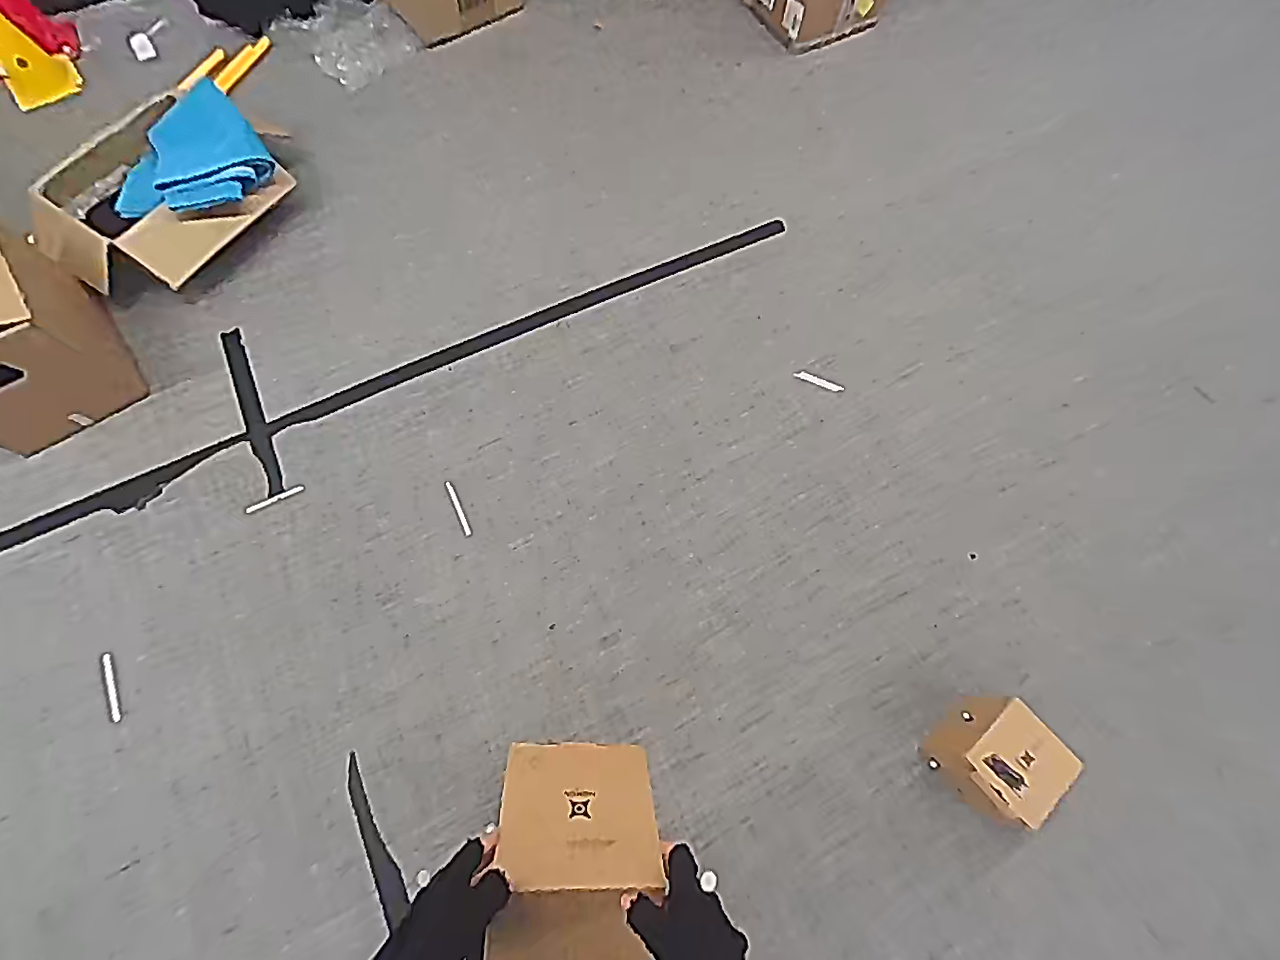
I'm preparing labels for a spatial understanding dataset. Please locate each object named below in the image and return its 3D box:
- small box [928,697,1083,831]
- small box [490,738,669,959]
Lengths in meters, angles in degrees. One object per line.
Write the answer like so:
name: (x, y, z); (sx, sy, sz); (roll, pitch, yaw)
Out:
small box: (0.730, 0.569, 1.108); (0.179, 0.176, 0.168); (-36, 75, -15)
small box: (-0.074, 0.425, 0.610); (0.168, 0.179, 0.176); (6, 107, -10)
